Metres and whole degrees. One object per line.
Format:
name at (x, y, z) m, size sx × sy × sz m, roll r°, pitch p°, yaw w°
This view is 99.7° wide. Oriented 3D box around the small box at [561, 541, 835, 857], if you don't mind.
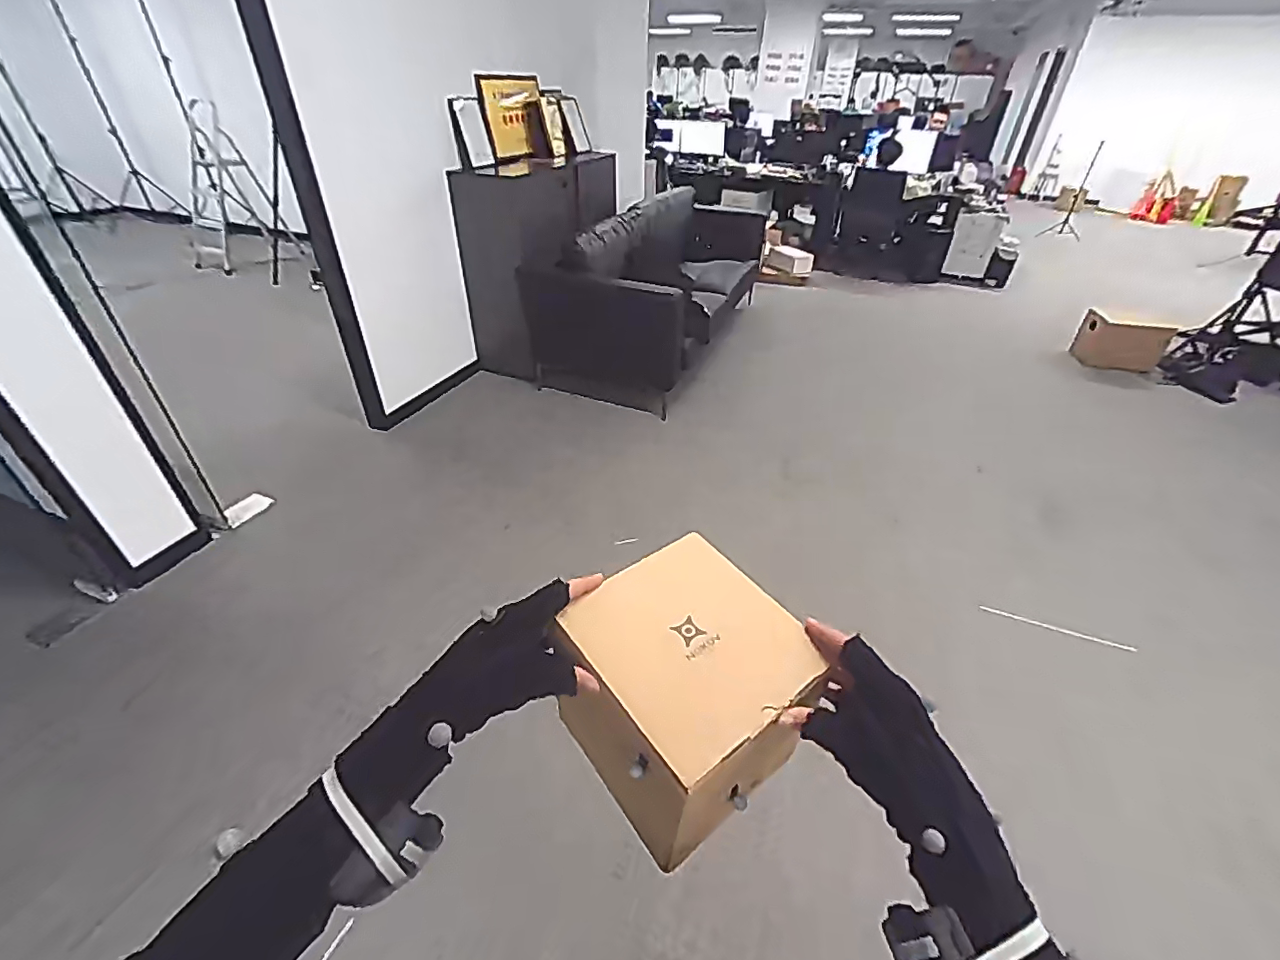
small box at (0.039, 0.194, 0.500) m, size 0.168 × 0.176 × 0.179 m, roll -24°, pitch 47°, yaw -31°
